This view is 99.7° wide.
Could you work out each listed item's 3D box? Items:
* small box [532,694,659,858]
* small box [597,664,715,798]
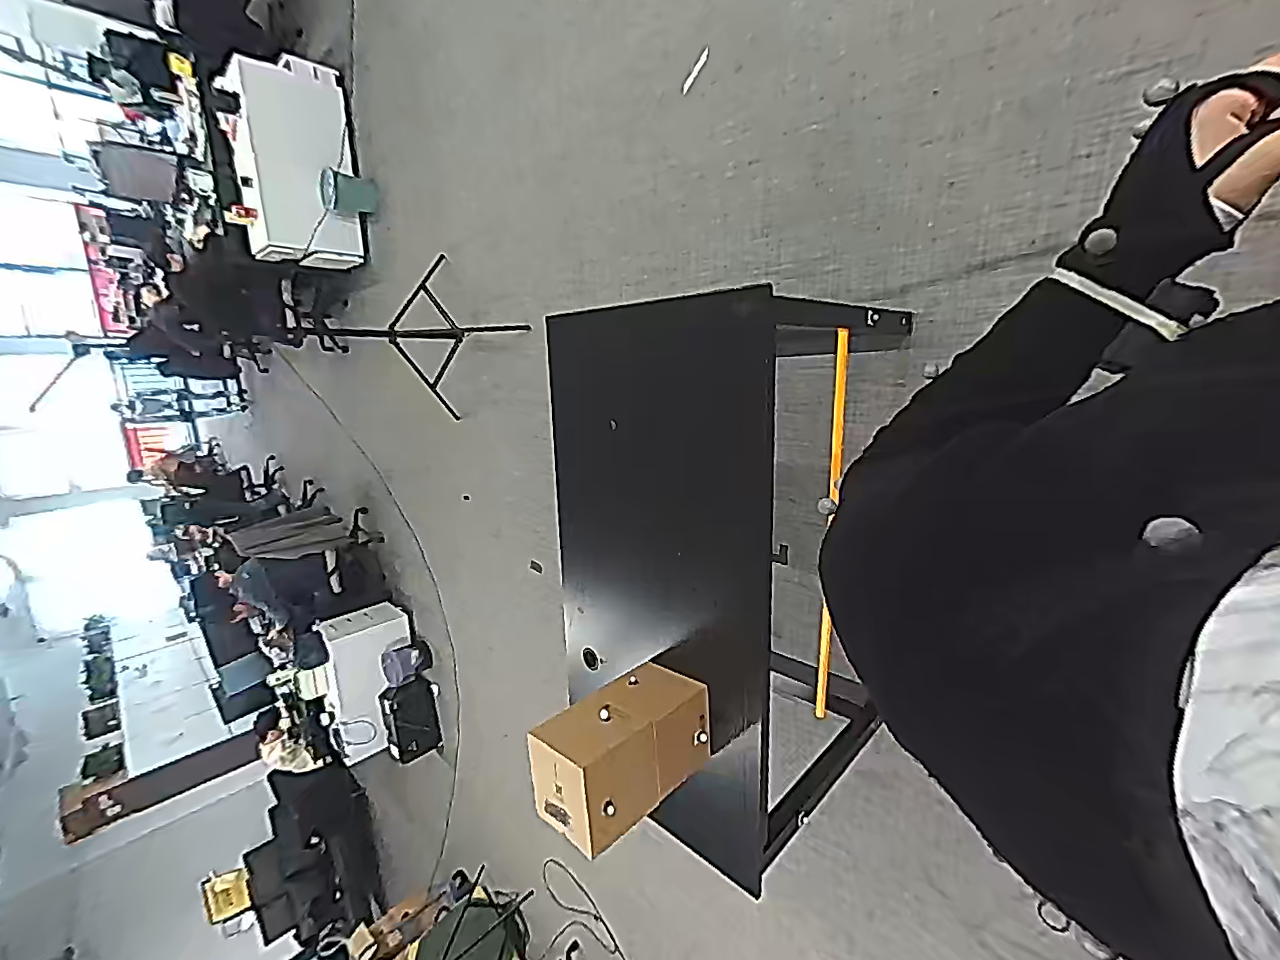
[{"bbox_3d":[-0.078,0.538,1.010,0.168,0.176,0.179,4,103,45],"label":"small box"},{"bbox_3d":[0.035,0.507,1.126,0.179,0.176,0.168,4,104,44],"label":"small box"}]
